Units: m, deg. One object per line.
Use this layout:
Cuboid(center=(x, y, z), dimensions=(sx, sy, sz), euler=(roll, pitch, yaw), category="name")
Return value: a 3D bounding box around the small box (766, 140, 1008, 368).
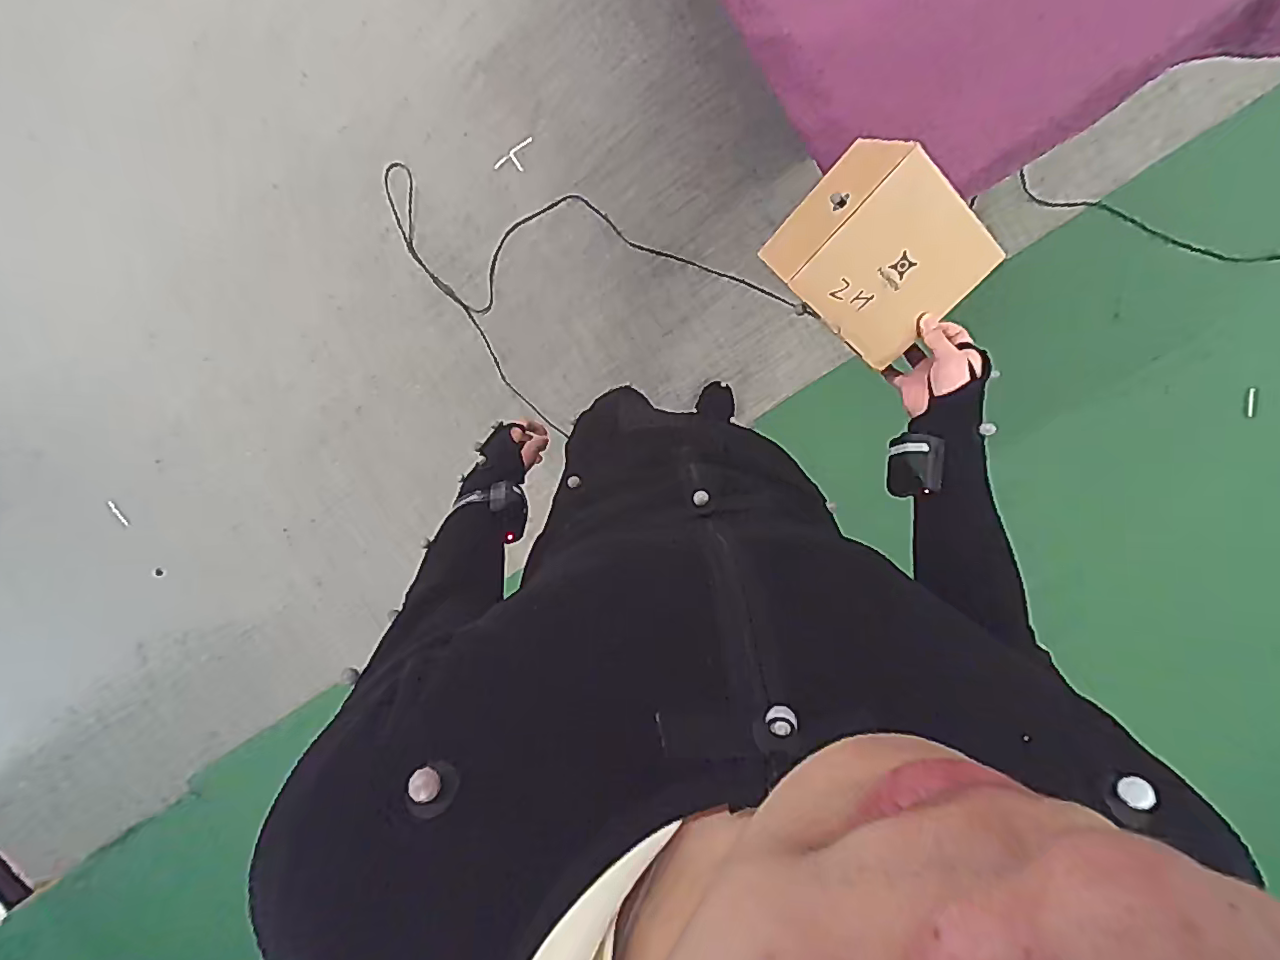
Cuboid(center=(0.277, -0.275, 0.649), dimensions=(0.168, 0.176, 0.179), euler=(34, 117, -21), category="small box")
